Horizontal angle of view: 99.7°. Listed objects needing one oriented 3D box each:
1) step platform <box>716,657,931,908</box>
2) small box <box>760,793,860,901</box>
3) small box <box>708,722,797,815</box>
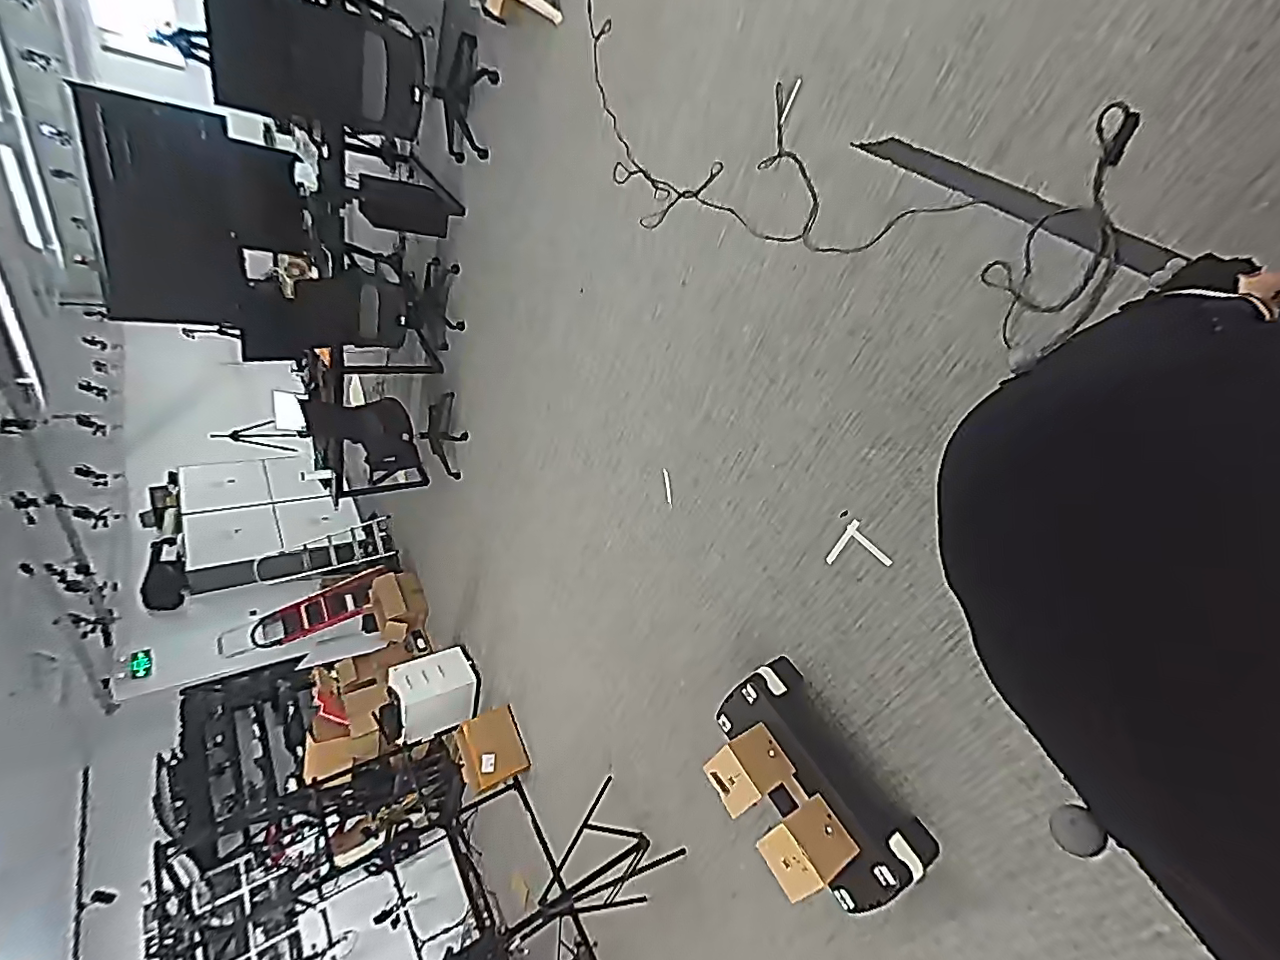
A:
[{"bbox_3d":[0.538,0.927,1.705,0.684,0.204,0.286,50,134,33],"label":"step platform"},{"bbox_3d":[0.479,1.024,1.516,0.168,0.176,0.179,51,134,32],"label":"small box"},{"bbox_3d":[0.346,0.879,1.657,0.168,0.176,0.179,52,134,31],"label":"small box"}]
